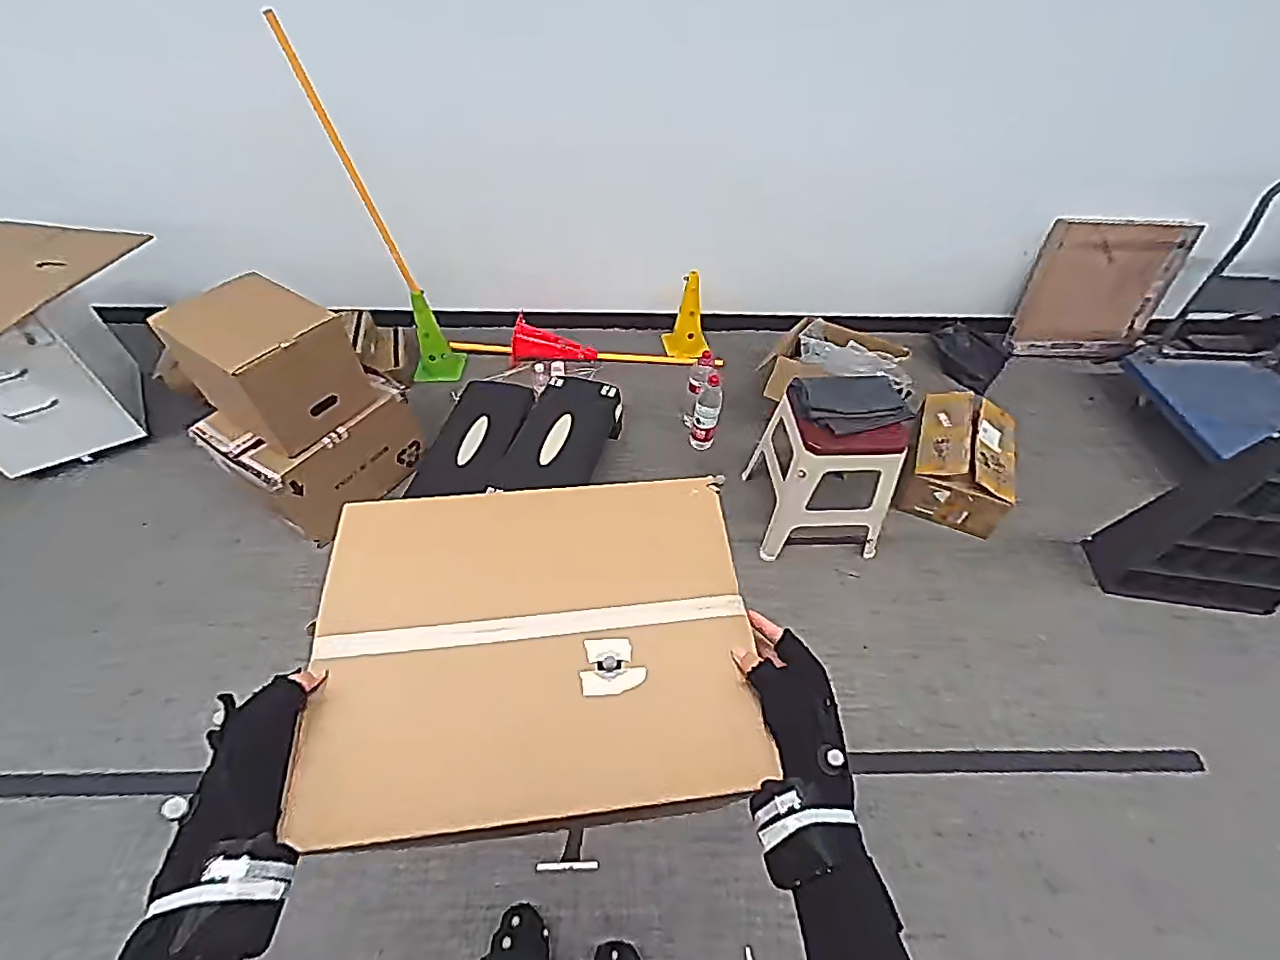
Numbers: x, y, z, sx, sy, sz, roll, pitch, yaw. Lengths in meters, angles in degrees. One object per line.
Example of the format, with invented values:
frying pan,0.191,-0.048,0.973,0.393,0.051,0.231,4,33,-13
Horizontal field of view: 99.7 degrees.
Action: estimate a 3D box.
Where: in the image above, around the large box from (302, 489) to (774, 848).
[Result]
large box,-0.103,0.234,0.656,0.408,0.320,0.320,-3,57,-6
